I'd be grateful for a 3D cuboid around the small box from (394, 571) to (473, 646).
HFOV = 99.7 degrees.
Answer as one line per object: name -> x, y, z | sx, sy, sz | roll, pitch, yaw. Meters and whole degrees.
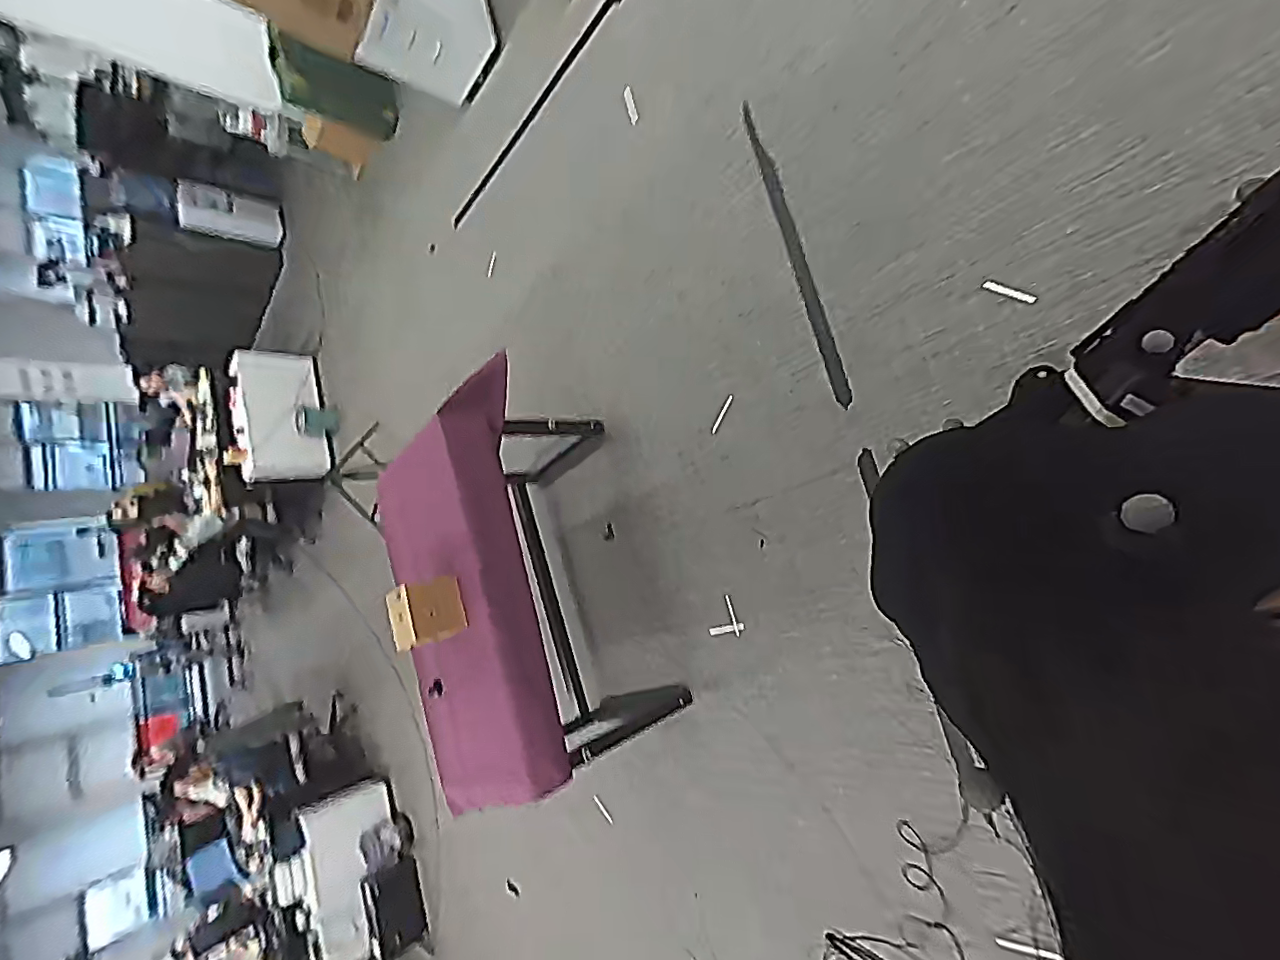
small box -> -0.651, 0.405, 1.713 | 0.168, 0.176, 0.179 | -31, 73, 42
